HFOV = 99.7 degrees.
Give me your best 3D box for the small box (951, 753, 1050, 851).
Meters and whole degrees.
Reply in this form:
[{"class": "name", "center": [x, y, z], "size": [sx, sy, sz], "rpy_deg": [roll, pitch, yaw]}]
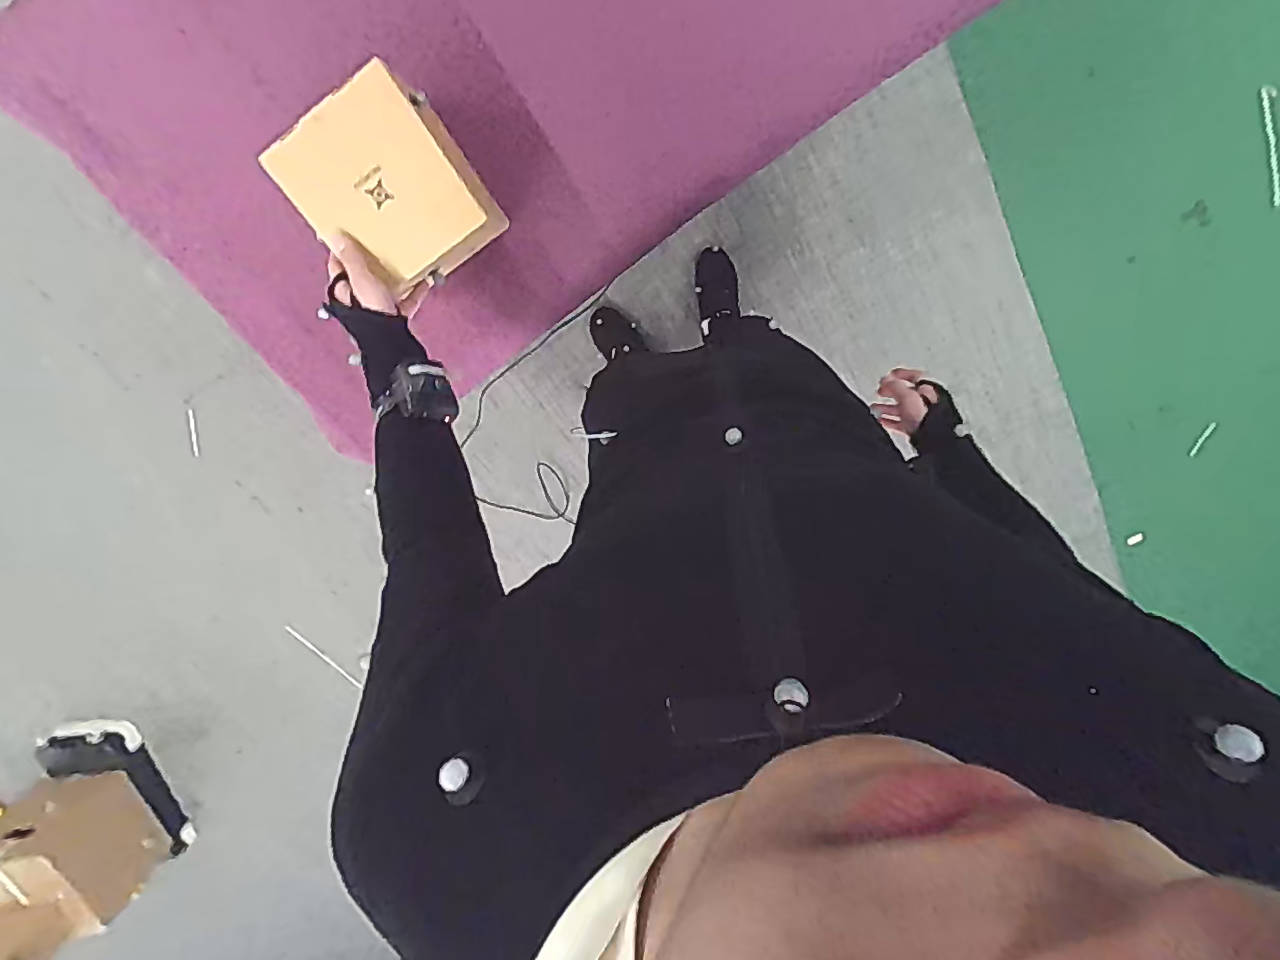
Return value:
[{"class": "small box", "center": [1.054, 0.939, 1.593], "size": [0.168, 0.176, 0.179], "rpy_deg": [-27, 111, 11]}]
